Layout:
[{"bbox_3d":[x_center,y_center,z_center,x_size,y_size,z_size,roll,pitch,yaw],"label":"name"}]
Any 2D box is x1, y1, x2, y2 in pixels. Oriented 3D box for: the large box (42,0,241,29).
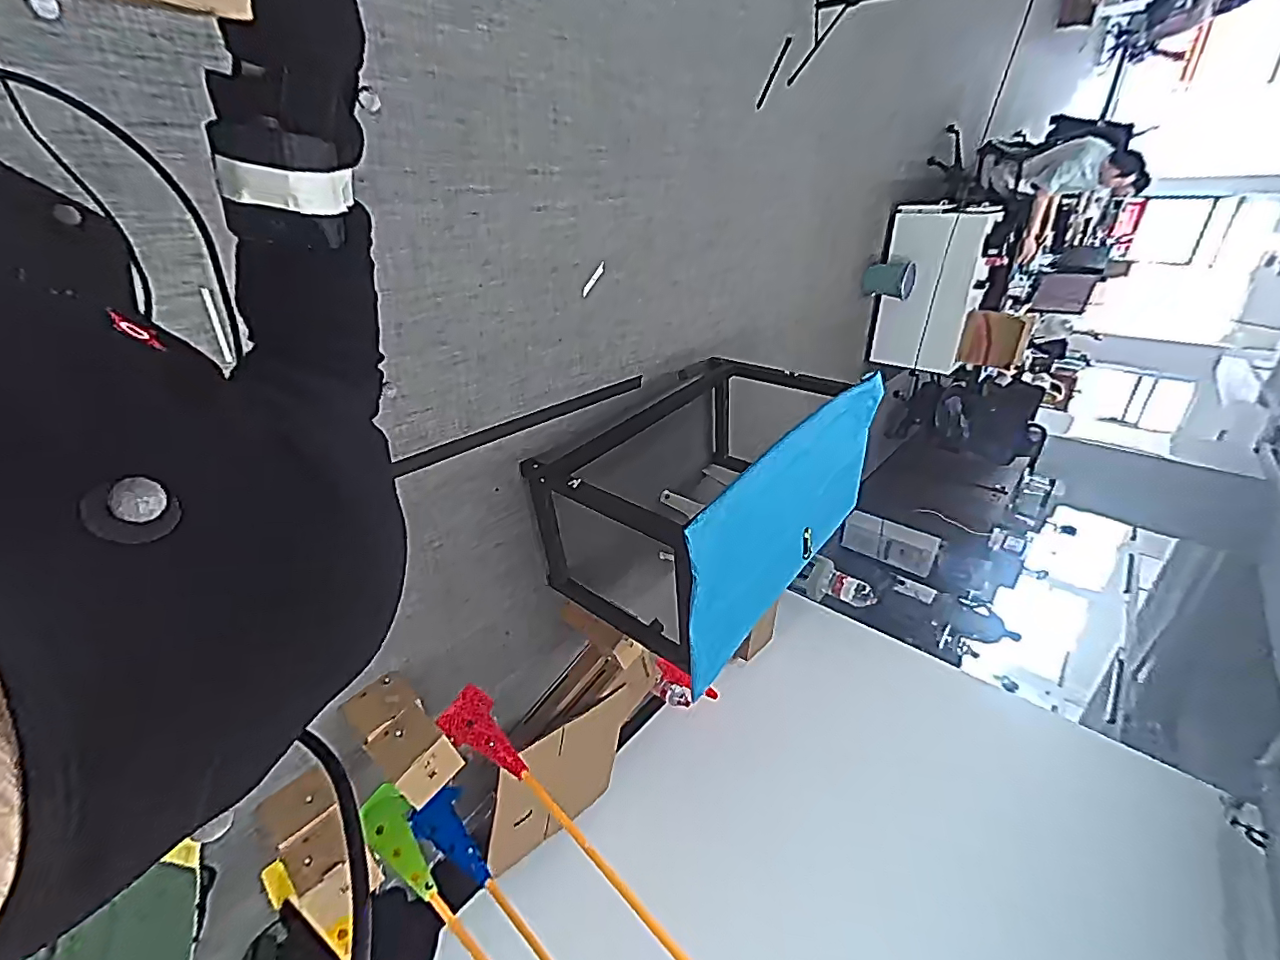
[{"bbox_3d":[-0.413,-0.365,0.135,0.408,0.320,0.320,-24,136,-43],"label":"large box"}]
